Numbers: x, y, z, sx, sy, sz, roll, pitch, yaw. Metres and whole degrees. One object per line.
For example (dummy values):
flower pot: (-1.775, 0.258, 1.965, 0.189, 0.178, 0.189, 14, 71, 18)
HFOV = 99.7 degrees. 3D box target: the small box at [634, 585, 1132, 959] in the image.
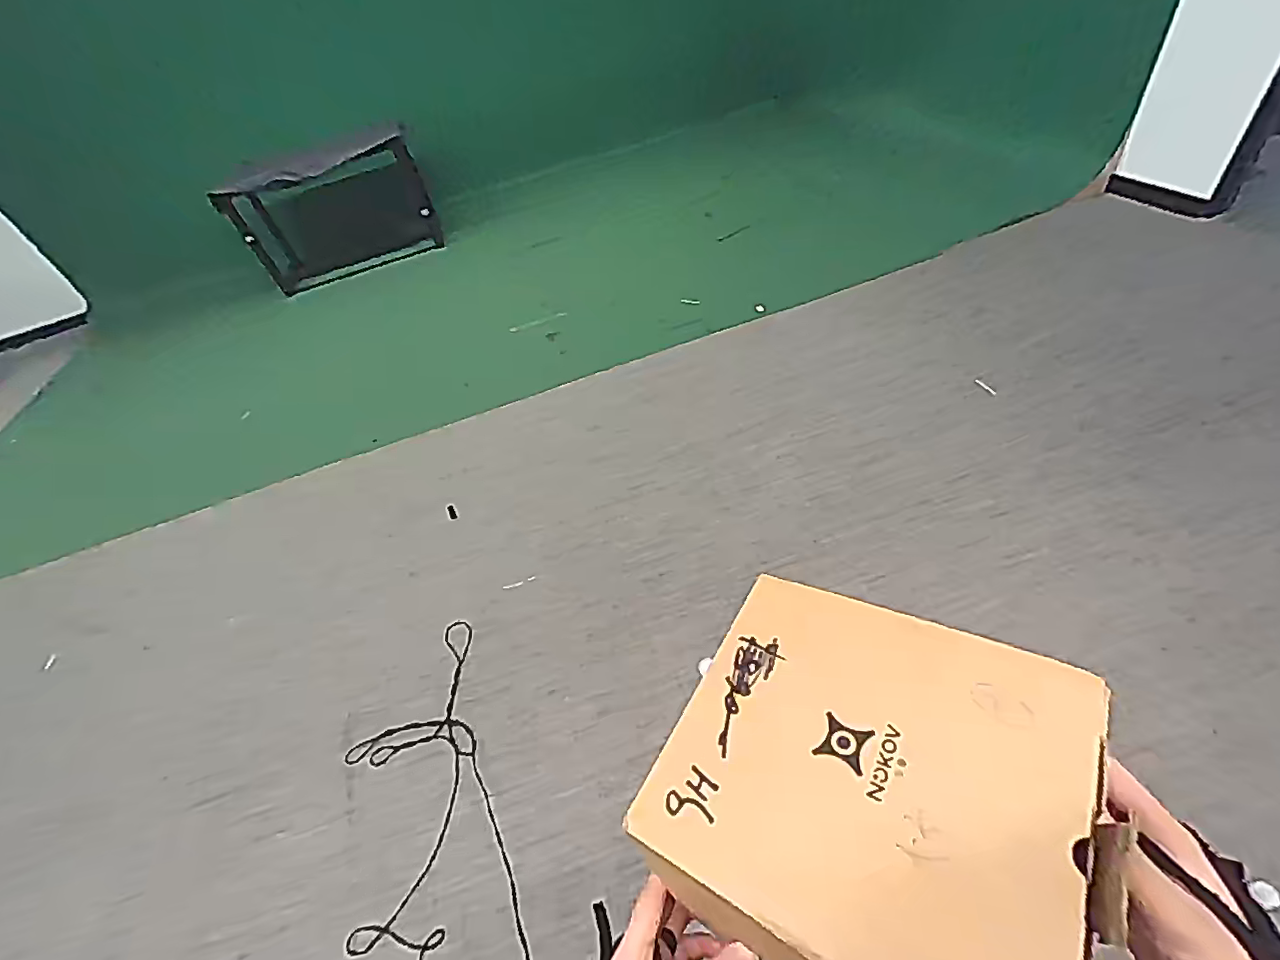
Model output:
small box: (0.128, 0.195, 0.301, 0.179, 0.176, 0.168, 16, 48, 35)
